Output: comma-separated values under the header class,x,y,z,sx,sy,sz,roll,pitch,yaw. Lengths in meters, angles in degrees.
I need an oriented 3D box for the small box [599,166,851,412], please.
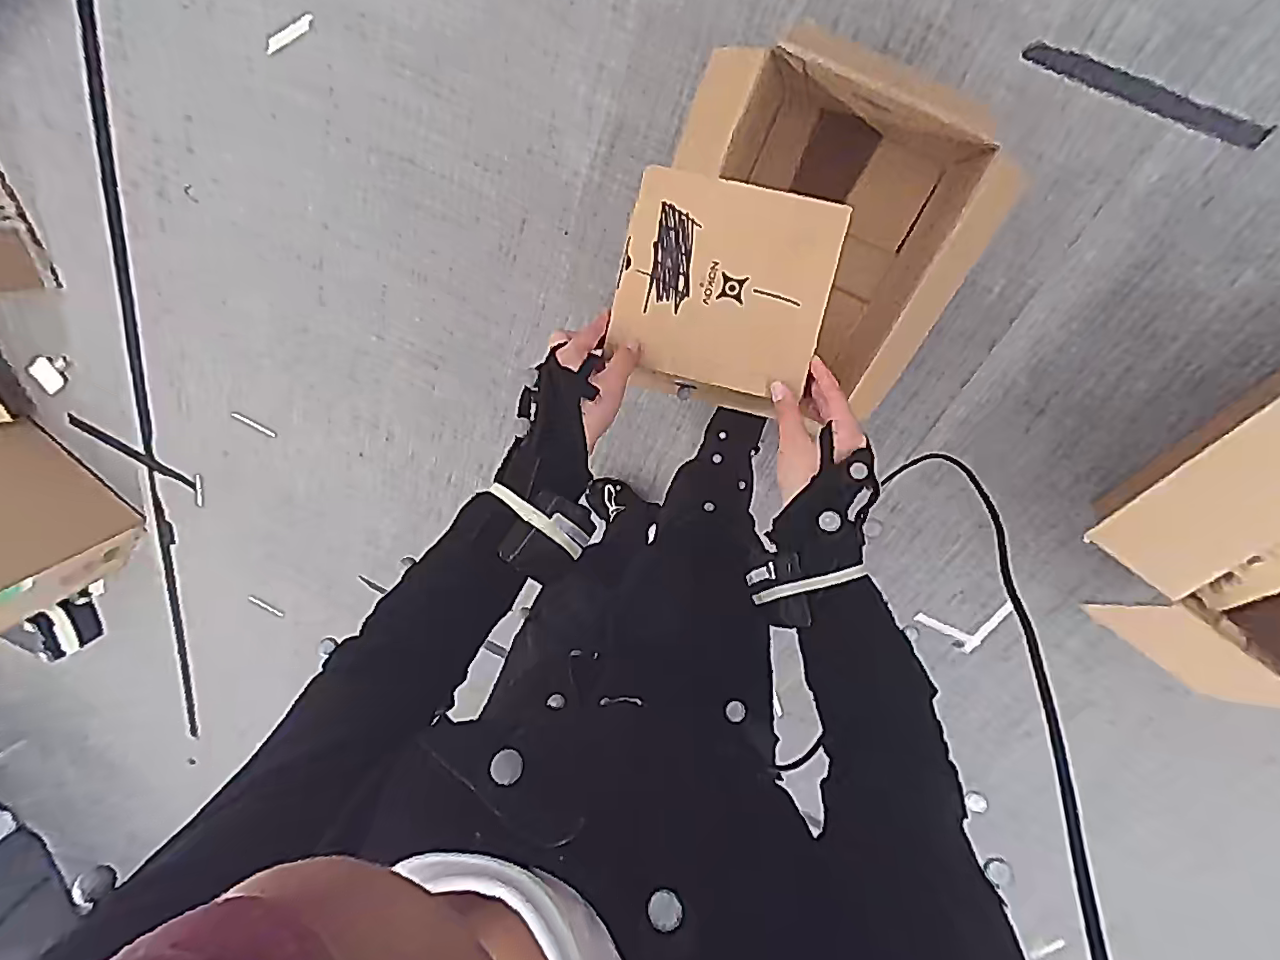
class,x,y,z,sx,sy,sz,roll,pitch,yaw
small box,0.075,-0.165,0.524,0.179,0.176,0.168,14,95,4
